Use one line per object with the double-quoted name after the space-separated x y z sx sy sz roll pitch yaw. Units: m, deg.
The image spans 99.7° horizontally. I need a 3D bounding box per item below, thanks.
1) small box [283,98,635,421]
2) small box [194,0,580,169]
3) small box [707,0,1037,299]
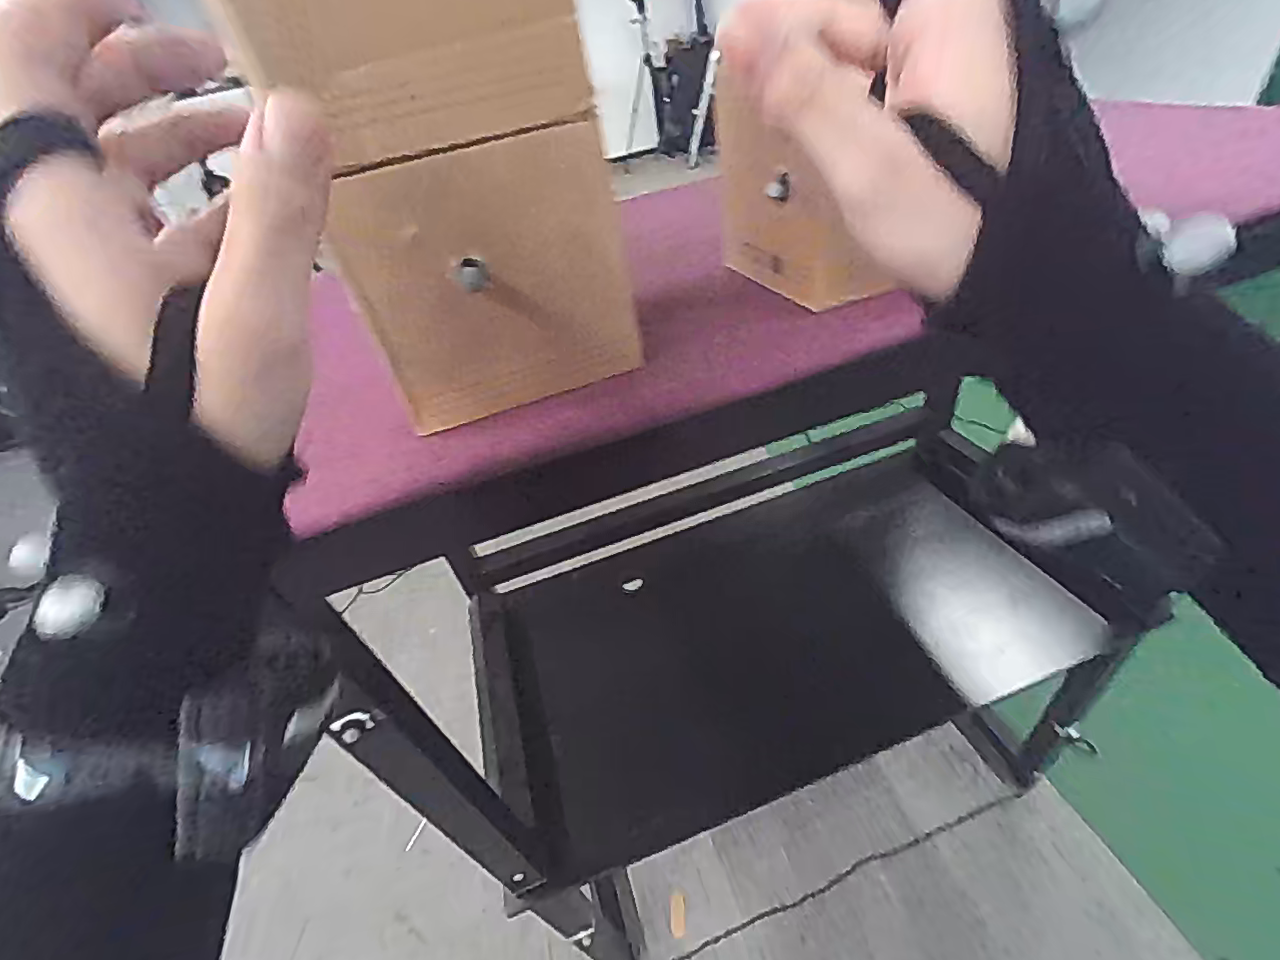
-0.121 -0.168 0.411 0.179 0.176 0.168 -21 39 -9 "small box"
-0.152 -0.294 0.312 0.179 0.176 0.168 -20 38 -10 "small box"
0.175 -0.270 0.453 0.179 0.176 0.168 -20 39 -8 "small box"
